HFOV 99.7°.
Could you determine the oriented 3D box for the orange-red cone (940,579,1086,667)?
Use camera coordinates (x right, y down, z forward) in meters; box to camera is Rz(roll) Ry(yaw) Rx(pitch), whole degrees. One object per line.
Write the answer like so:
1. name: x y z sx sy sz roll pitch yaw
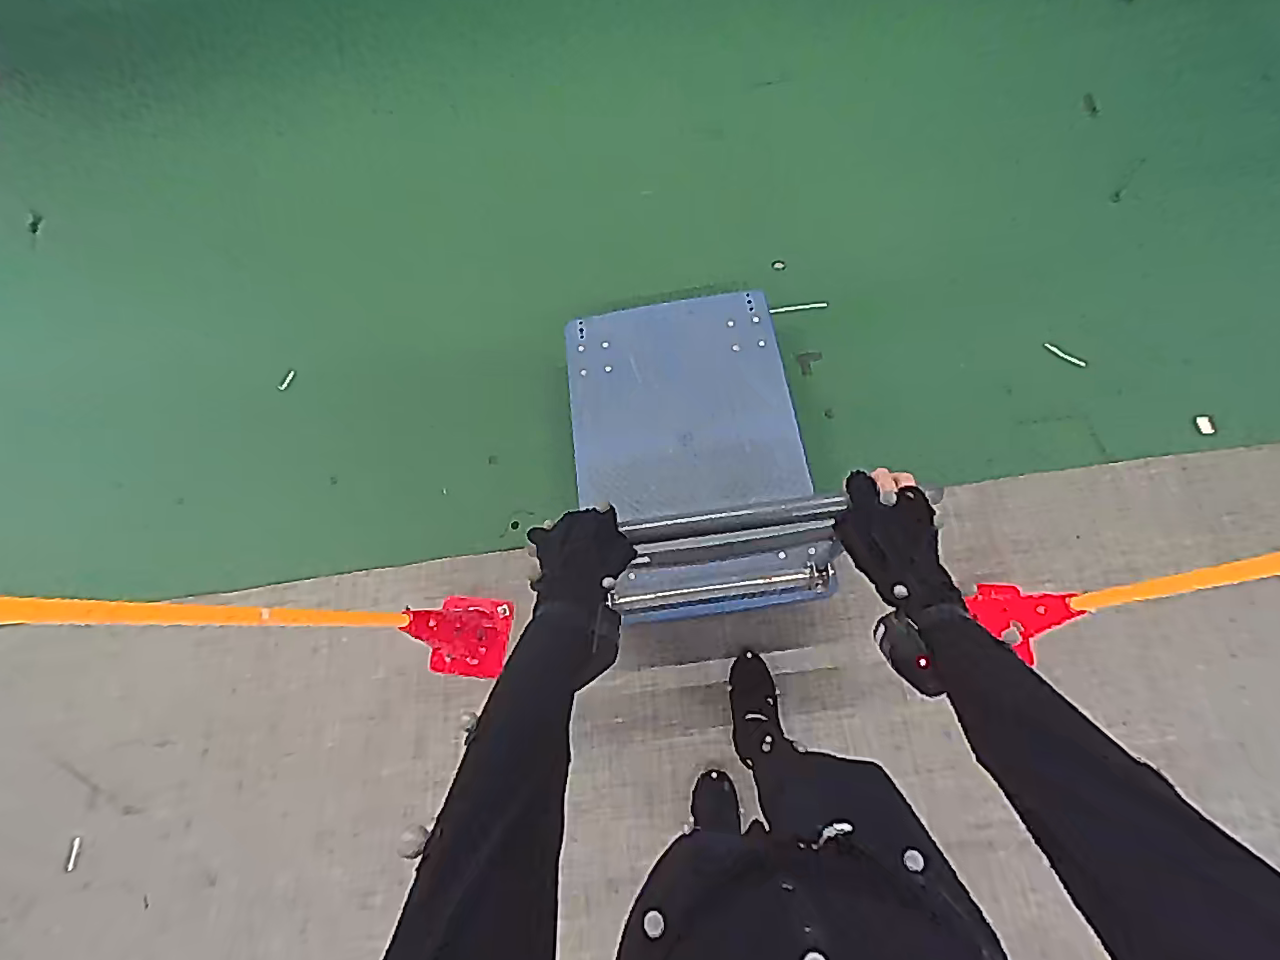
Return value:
1. orange-red cone: 0.817 0.286 1.150 0.198 0.360 0.199 2 71 8
